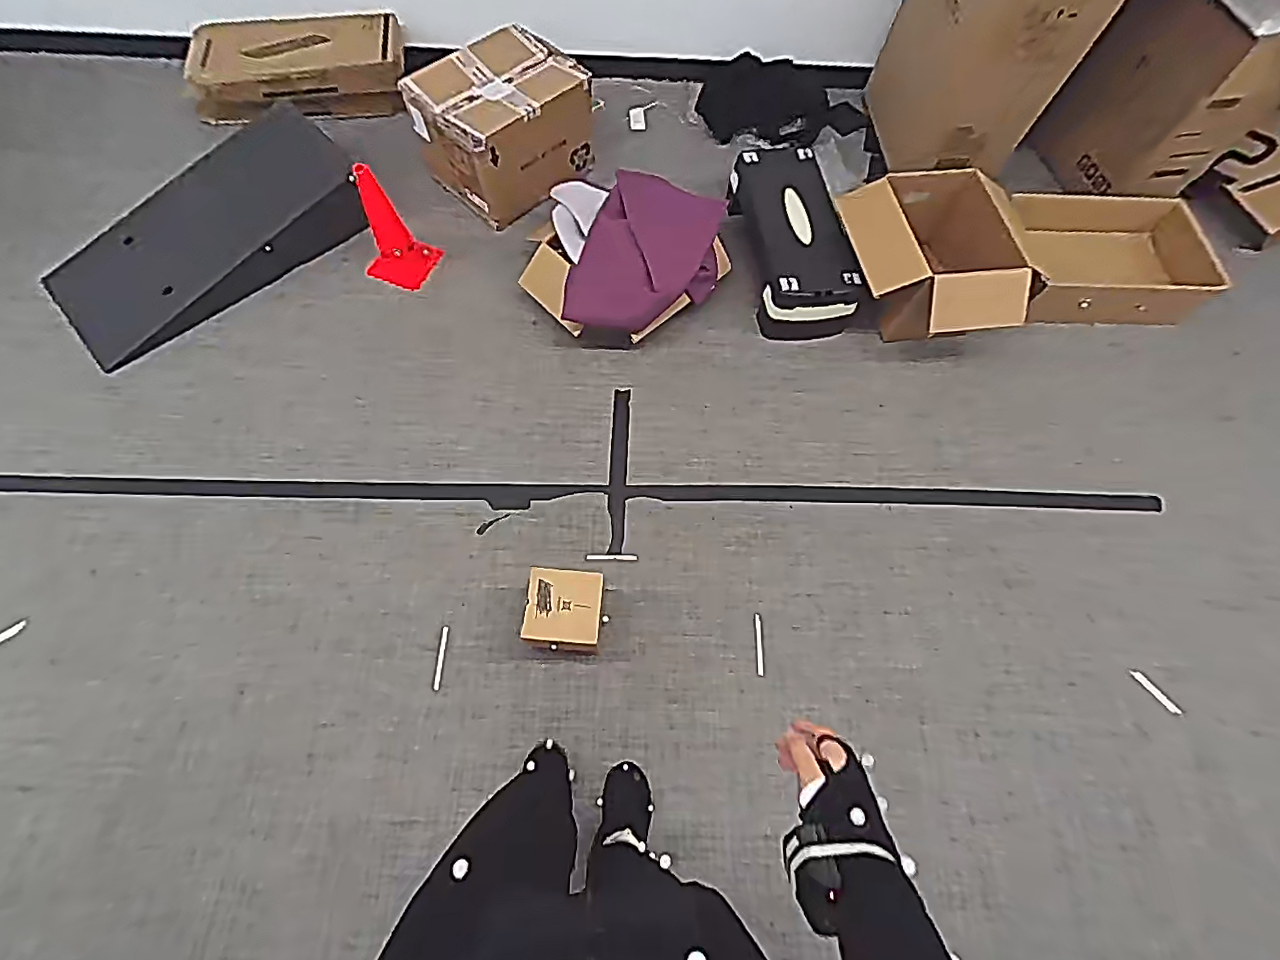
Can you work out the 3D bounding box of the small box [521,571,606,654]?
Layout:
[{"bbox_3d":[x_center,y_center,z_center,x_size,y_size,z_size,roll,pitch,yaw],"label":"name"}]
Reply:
[{"bbox_3d":[-0.179,0.327,1.316,0.179,0.176,0.168,5,67,-1],"label":"small box"}]
